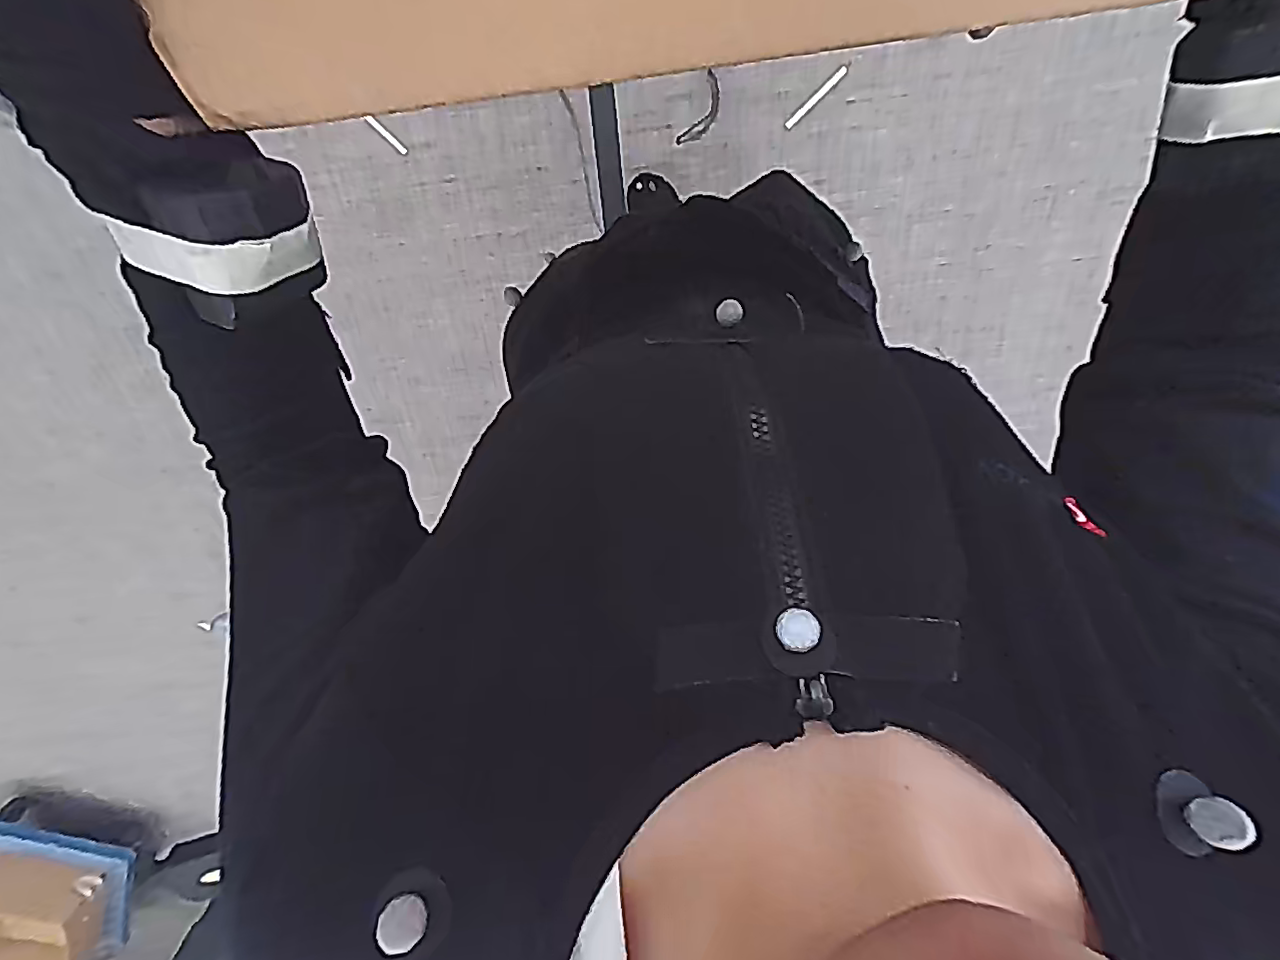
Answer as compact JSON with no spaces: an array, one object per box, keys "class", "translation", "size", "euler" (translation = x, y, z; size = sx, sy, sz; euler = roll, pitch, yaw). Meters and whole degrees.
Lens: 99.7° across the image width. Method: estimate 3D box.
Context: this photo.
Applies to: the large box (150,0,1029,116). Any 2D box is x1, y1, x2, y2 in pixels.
[{"class":"large box","translation":[0.000,-0.383,0.191],"size":[0.408,0.320,0.320],"euler":[-6,140,2]}]
